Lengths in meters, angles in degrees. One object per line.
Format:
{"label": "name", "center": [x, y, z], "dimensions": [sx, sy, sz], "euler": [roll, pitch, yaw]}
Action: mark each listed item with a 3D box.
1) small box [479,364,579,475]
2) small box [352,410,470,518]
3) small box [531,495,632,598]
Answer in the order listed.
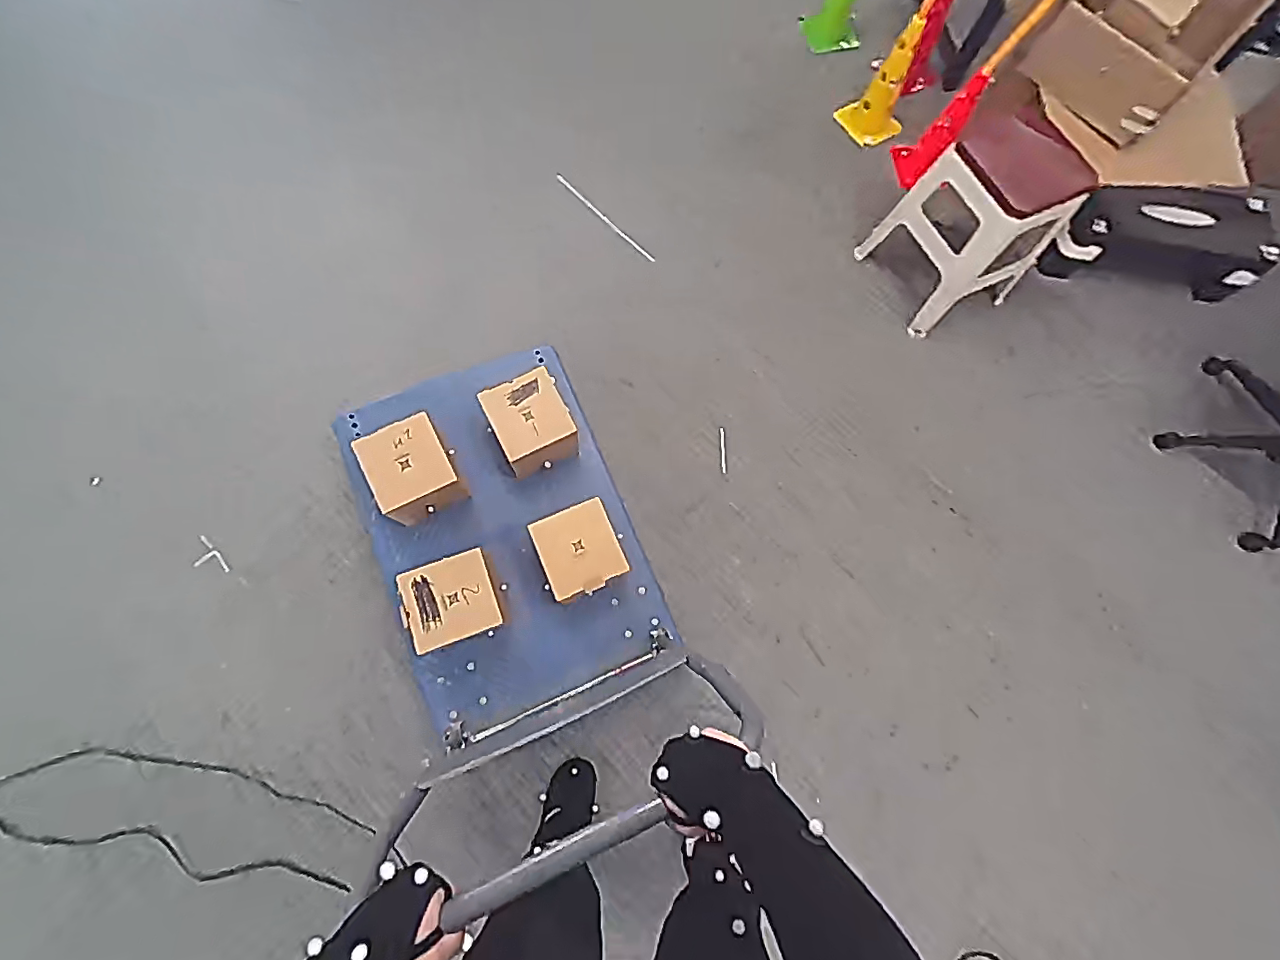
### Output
{"label": "small box", "center": [-0.253, -0.135, 1.262], "dimensions": [0.168, 0.176, 0.179], "euler": [-27, 82, -11]}
{"label": "small box", "center": [-0.501, -0.025, 1.210], "dimensions": [0.168, 0.176, 0.179], "euler": [-26, 81, -12]}
{"label": "small box", "center": [-0.133, 0.155, 1.209], "dimensions": [0.168, 0.176, 0.179], "euler": [-23, 81, -11]}
